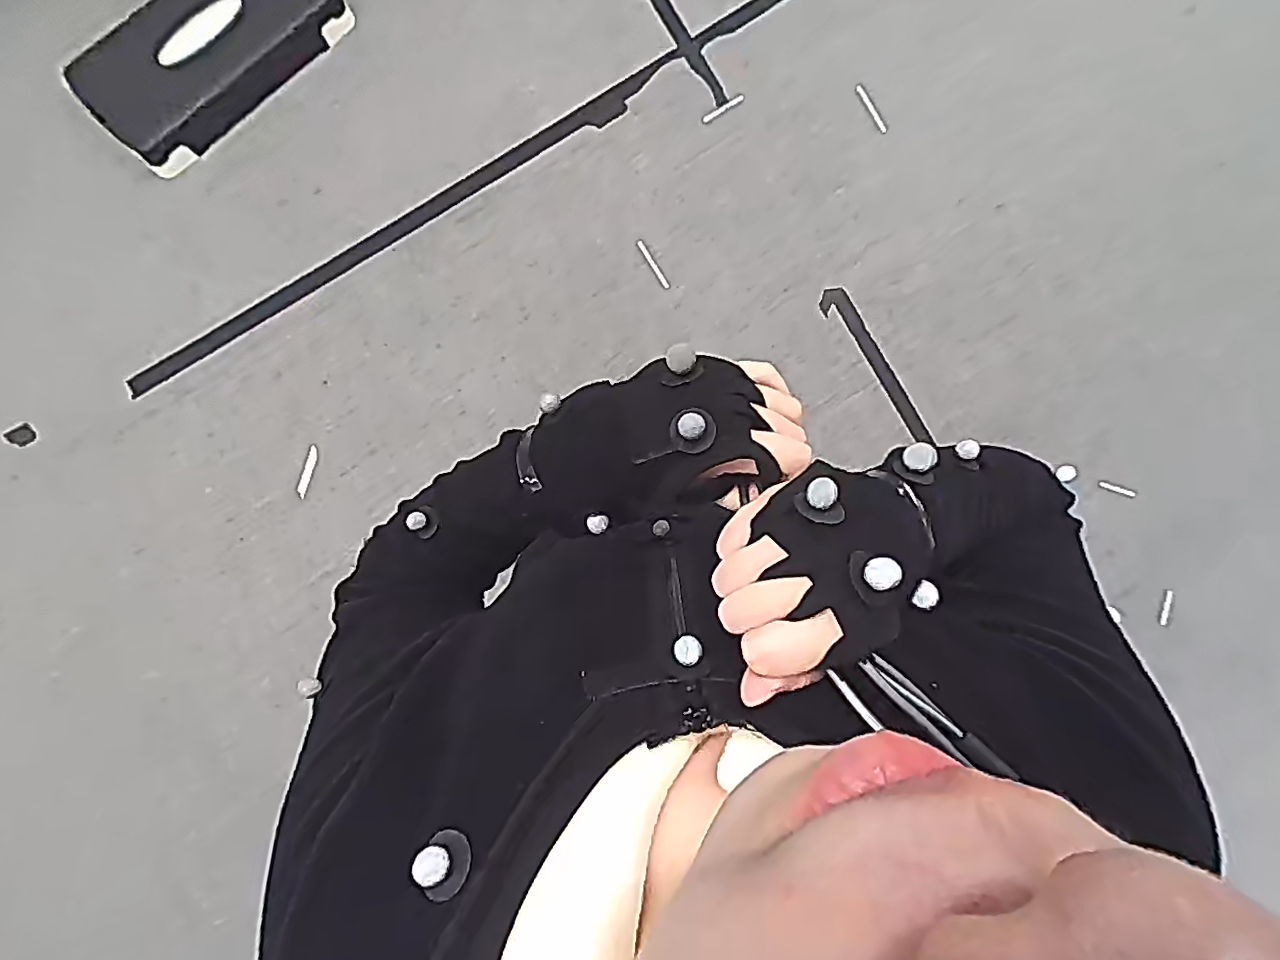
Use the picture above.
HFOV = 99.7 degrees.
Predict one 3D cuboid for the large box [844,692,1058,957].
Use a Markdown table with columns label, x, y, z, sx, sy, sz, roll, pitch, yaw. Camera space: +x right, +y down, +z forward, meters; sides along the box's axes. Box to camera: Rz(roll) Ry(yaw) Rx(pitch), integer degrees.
| label | x | y | z | sx | sy | sz | roll | pitch | yaw |
| --- | --- | --- | --- | --- | --- | --- | --- | --- | --- |
| large box | 0.688 | 0.752 | 1.242 | 0.320 | 0.320 | 0.408 | -1 | 91 | -5 |
